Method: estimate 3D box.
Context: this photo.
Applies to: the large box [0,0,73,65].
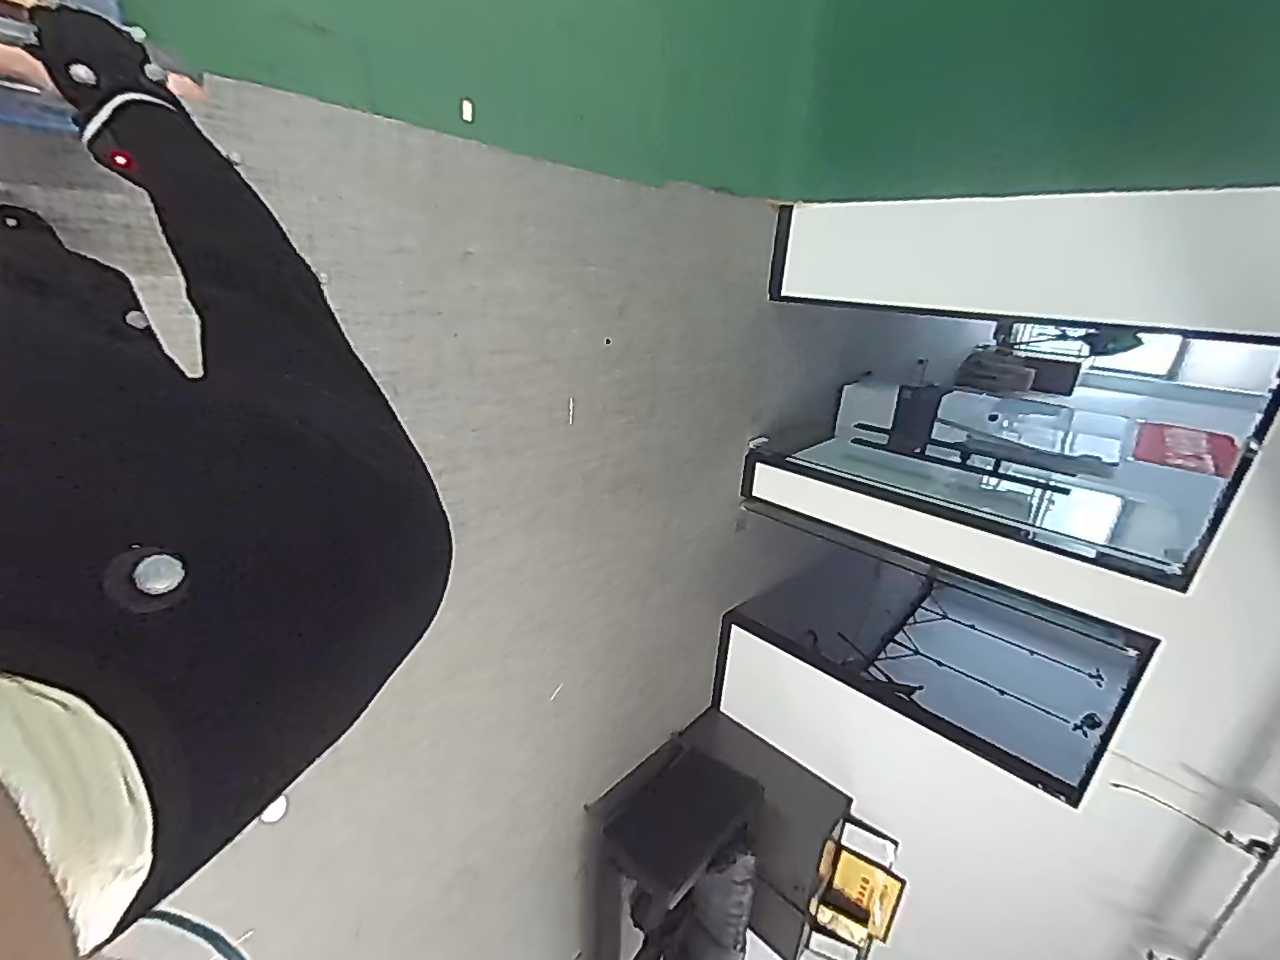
[{"bbox_3d":[-0.949,-0.798,0.634,0.320,0.320,0.408,-17,118,-45],"label":"large box"}]
